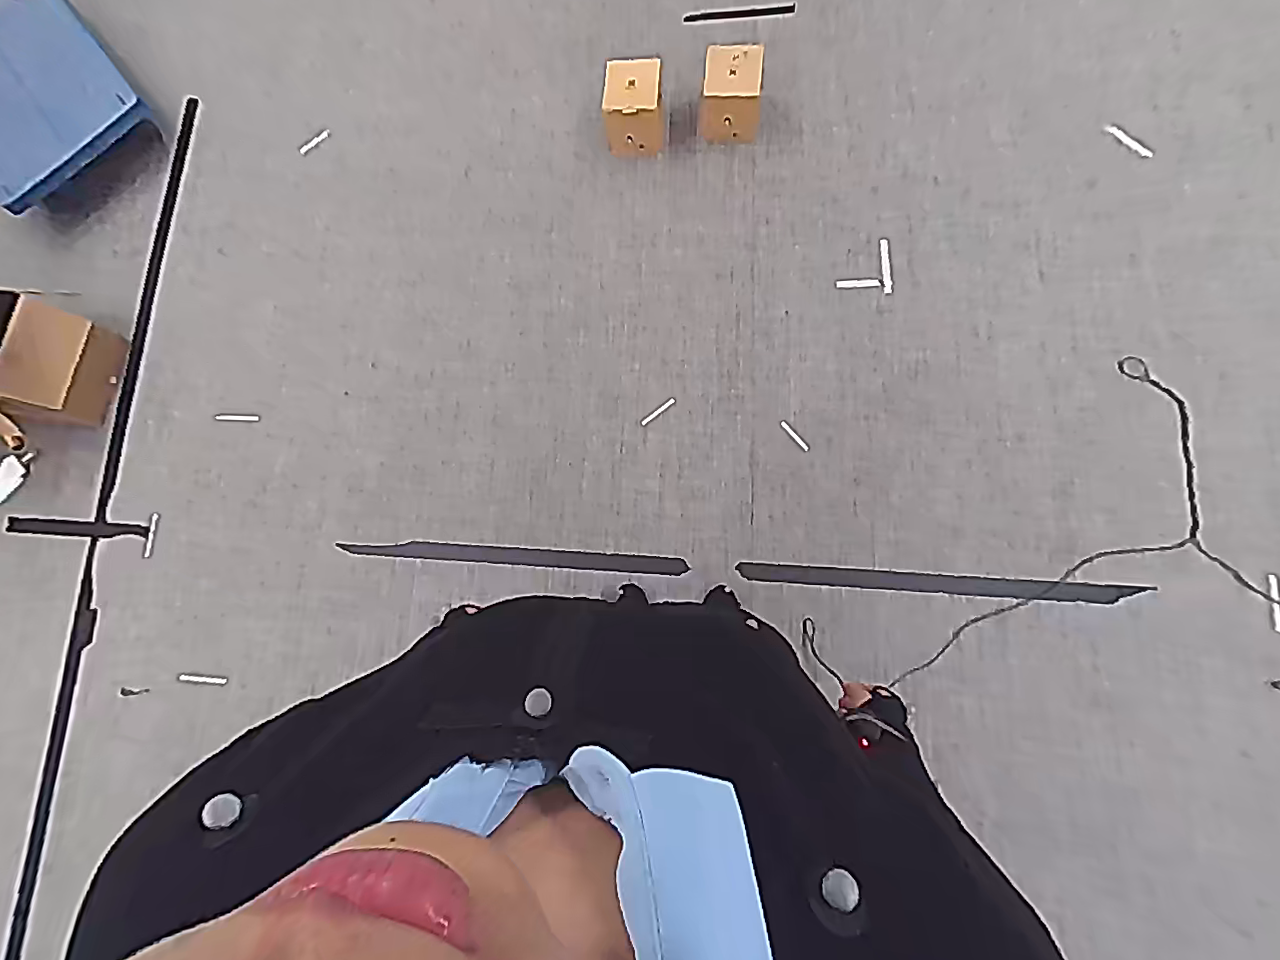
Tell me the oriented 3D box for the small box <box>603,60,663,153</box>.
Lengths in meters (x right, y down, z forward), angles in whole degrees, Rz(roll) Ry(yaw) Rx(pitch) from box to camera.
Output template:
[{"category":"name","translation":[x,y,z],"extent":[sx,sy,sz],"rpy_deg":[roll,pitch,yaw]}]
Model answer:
[{"category":"small box","translation":[-0.017,-1.163,1.691],"extent":[0.168,0.176,0.179],"rpy_deg":[3,80,7]}]

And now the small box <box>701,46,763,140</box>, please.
[{"category":"small box","translation":[0.279,-1.179,1.658],"extent":[0.168,0.176,0.179],"rpy_deg":[5,80,7]}]
